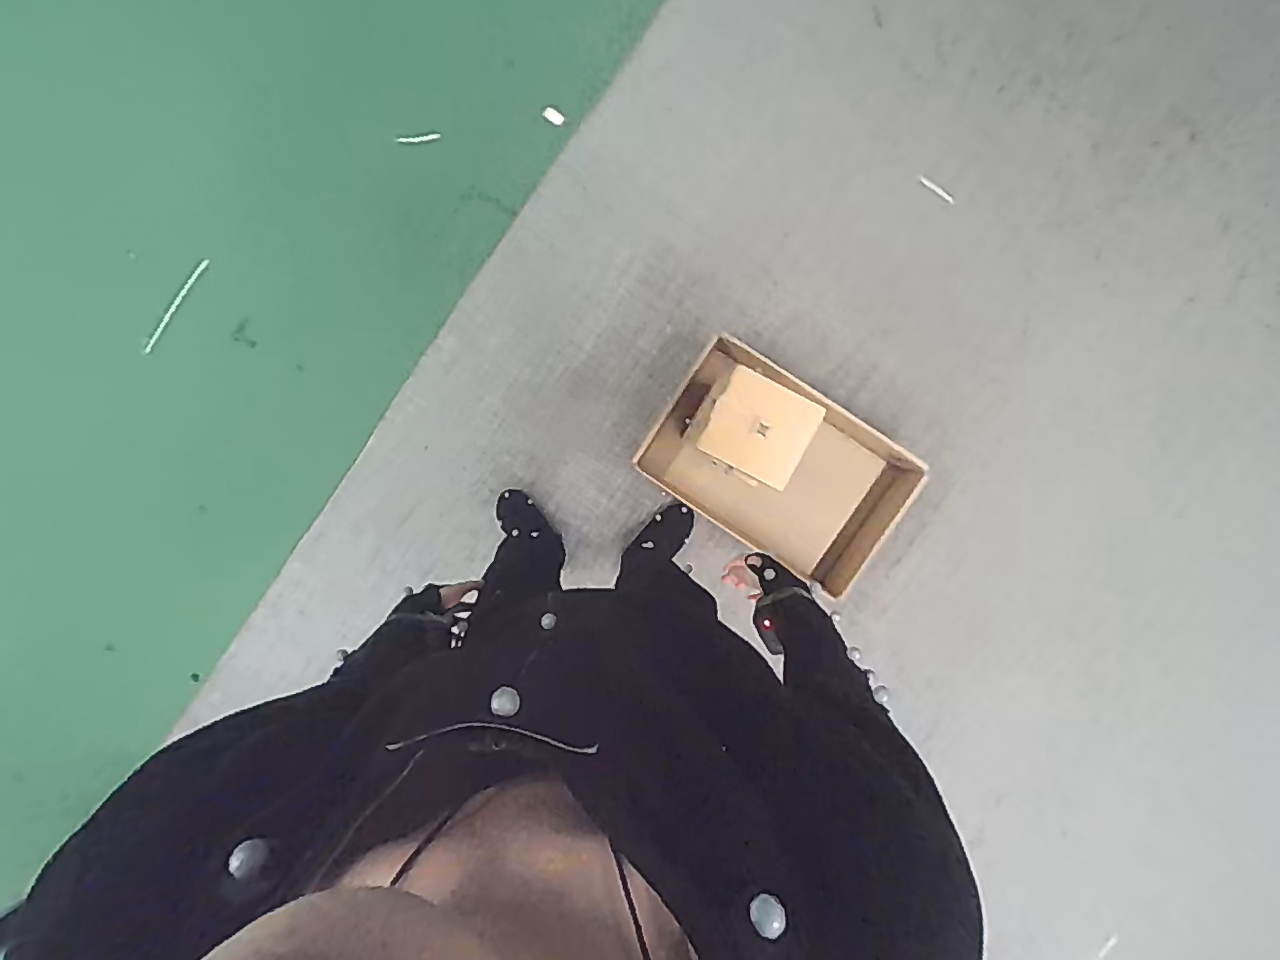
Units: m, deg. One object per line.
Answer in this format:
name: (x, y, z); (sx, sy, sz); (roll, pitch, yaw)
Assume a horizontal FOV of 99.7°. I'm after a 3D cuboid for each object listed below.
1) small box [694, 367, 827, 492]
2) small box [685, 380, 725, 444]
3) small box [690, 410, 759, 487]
small box: (0.217, -0.097, 1.025); (0.179, 0.176, 0.168); (28, 96, 0)
small box: (0.224, -0.129, 1.350); (0.179, 0.176, 0.168); (30, 95, -2)
small box: (0.222, -0.105, 1.188); (0.168, 0.176, 0.179); (35, 95, -2)
